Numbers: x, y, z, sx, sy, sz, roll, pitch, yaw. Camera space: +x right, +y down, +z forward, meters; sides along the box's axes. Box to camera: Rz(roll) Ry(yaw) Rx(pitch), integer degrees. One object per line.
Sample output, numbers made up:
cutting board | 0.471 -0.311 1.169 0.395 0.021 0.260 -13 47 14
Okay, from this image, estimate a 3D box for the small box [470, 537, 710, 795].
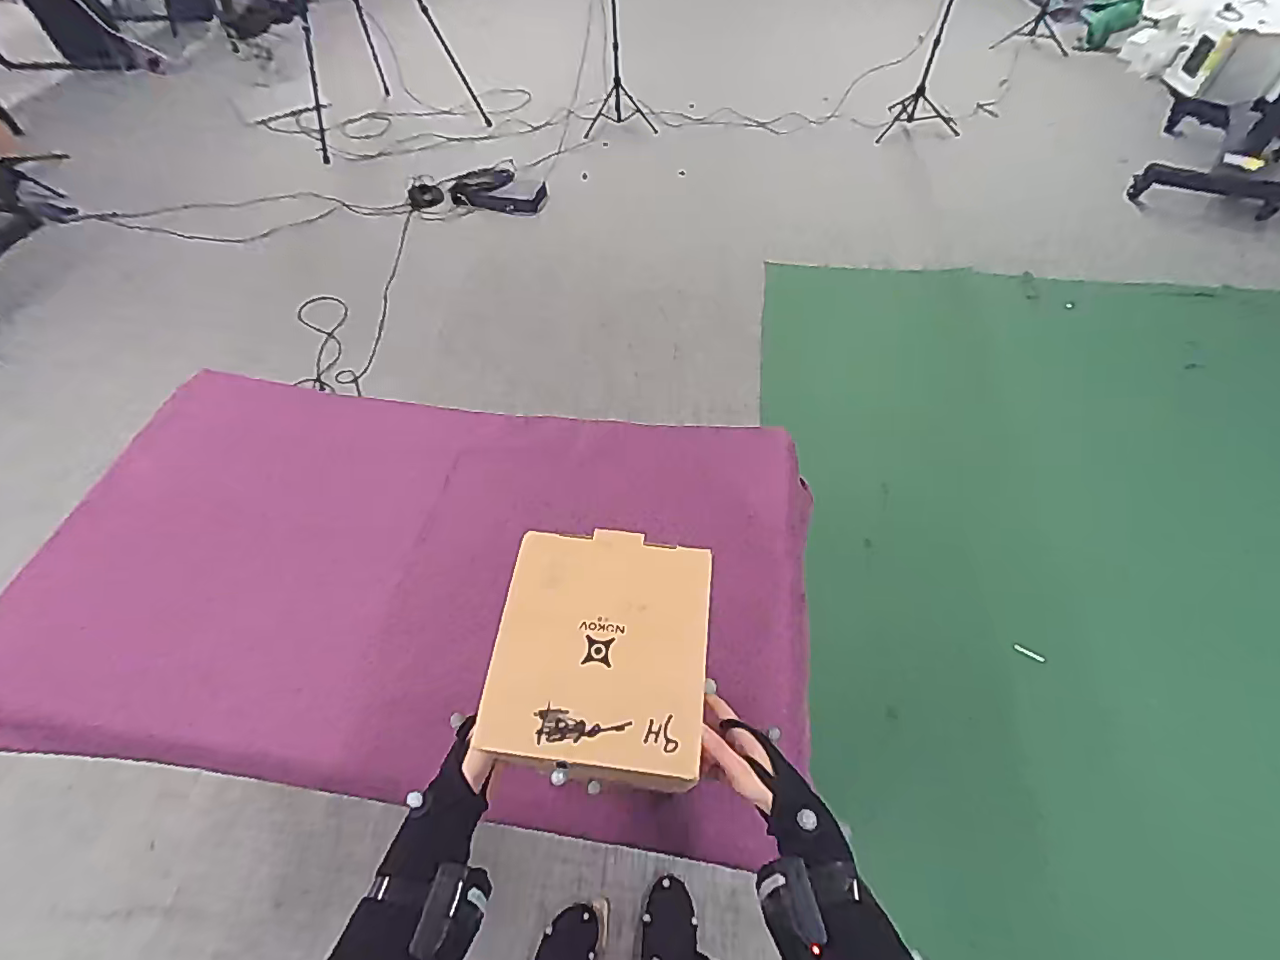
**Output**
small box | -0.029 0.172 0.491 0.168 0.176 0.179 4 58 7
